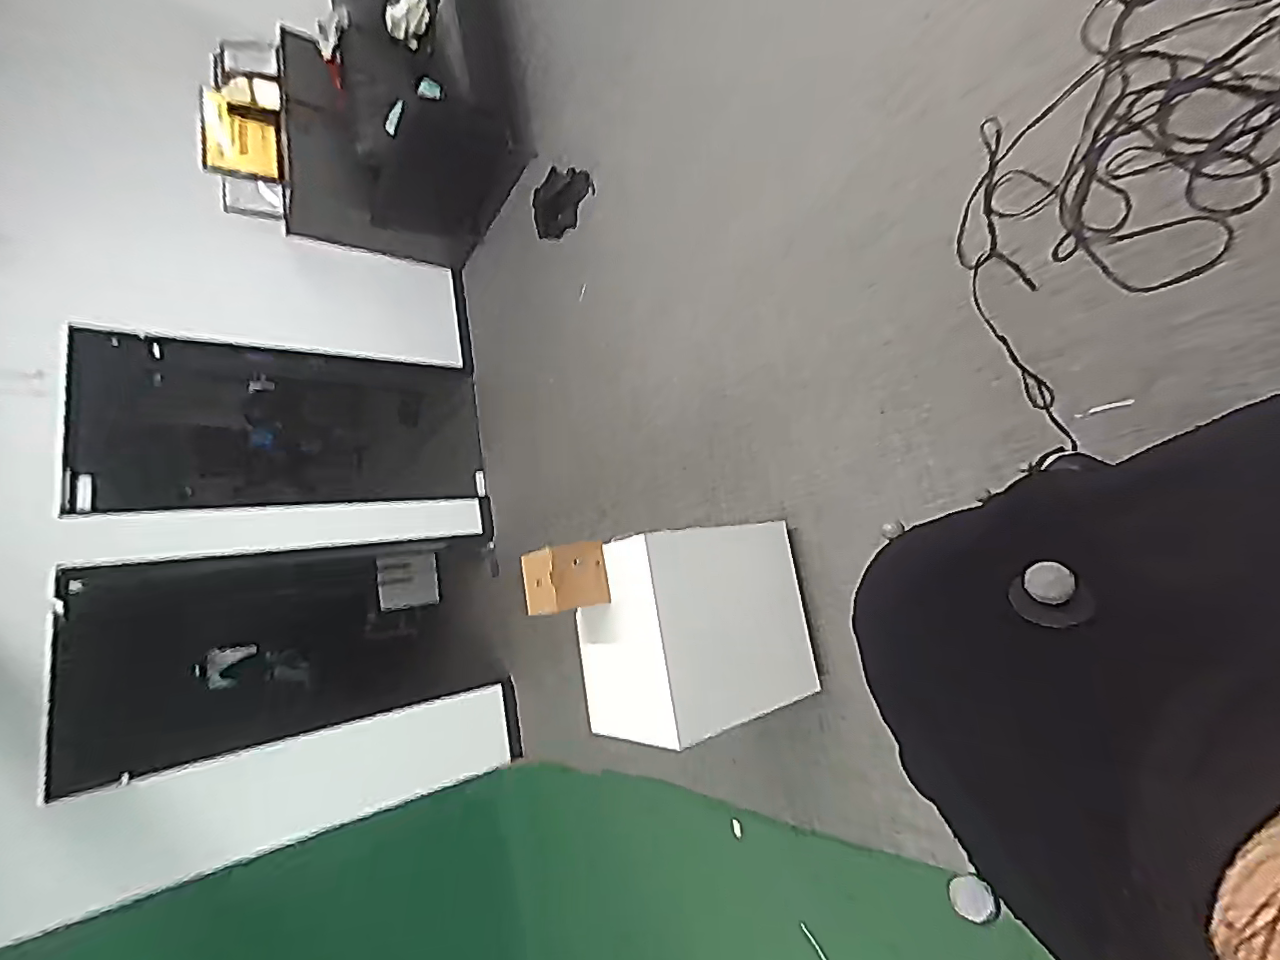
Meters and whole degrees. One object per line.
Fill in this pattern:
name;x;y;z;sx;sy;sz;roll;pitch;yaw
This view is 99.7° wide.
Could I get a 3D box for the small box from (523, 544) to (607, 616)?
small box;-0.201;0.274;1.484;0.179;0.176;0.168;-25;71;51
